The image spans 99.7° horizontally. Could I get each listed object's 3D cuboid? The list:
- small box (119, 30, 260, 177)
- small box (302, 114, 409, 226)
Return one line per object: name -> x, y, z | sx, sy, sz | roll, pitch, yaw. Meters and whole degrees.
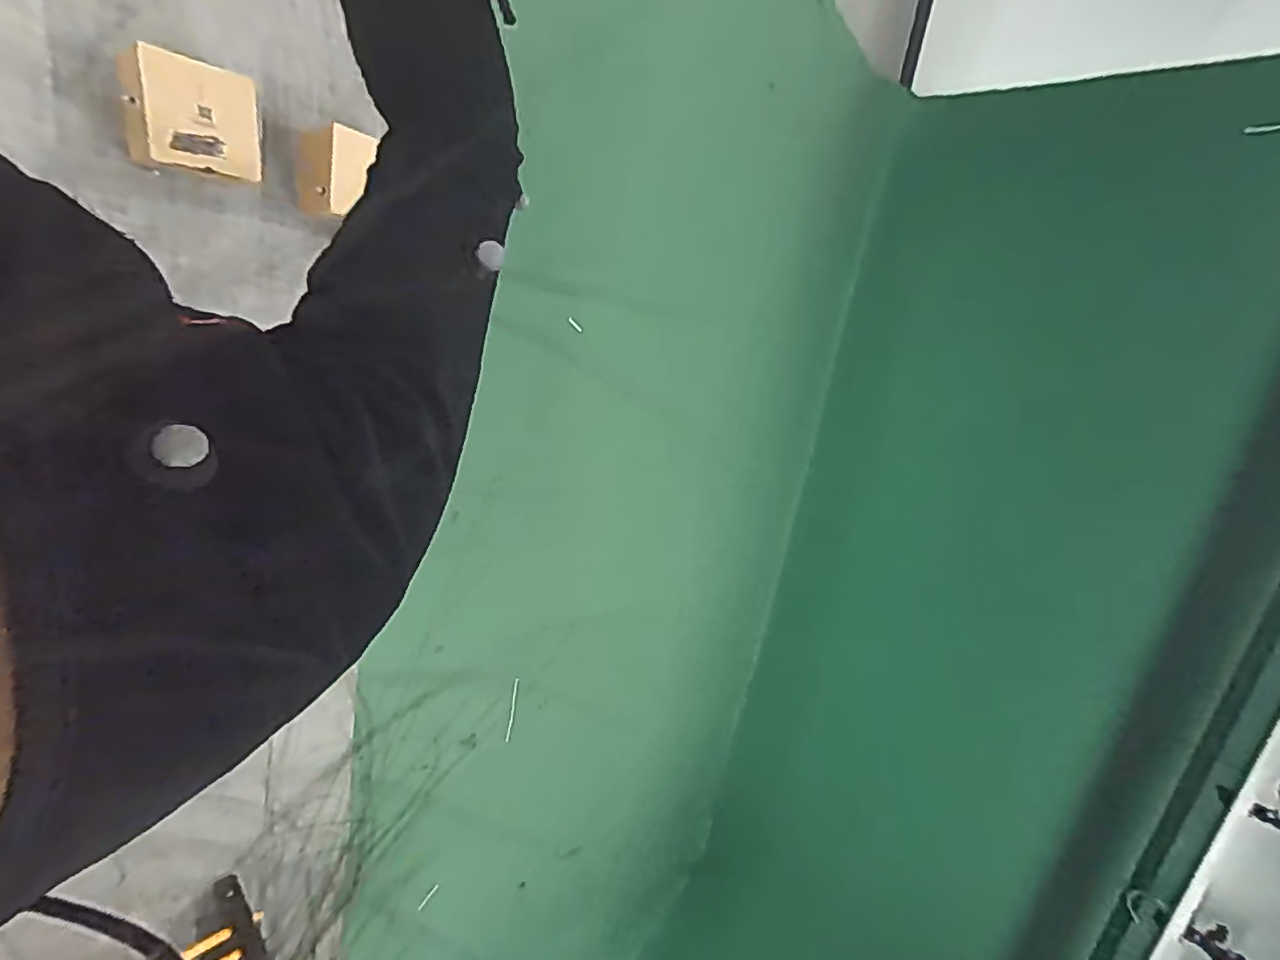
small box -> -0.833, -0.679, 1.003 | 0.168, 0.176, 0.179 | -13, 116, -49
small box -> -0.651, -0.696, 1.232 | 0.168, 0.176, 0.179 | -7, 113, -50
